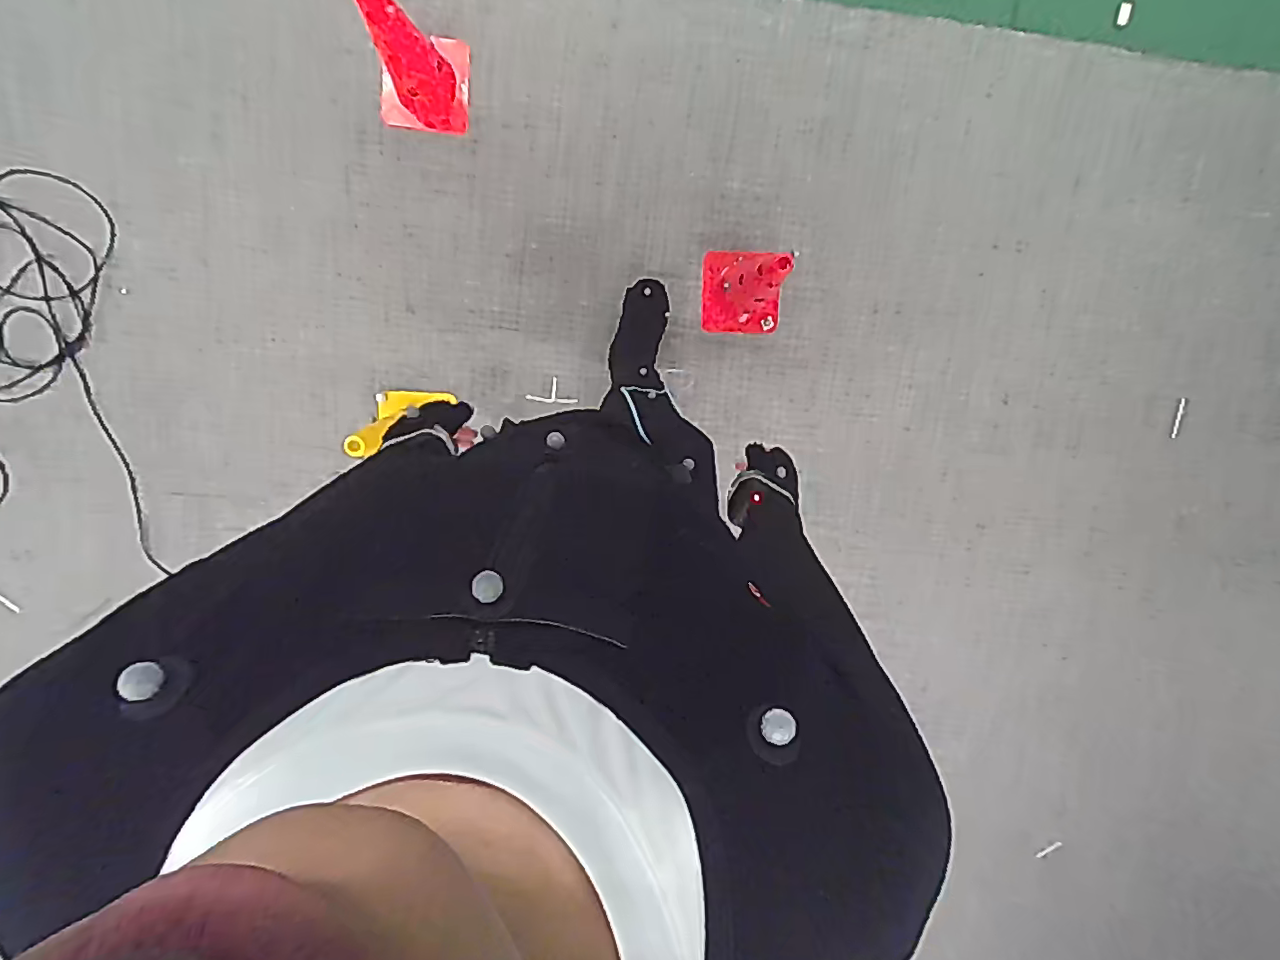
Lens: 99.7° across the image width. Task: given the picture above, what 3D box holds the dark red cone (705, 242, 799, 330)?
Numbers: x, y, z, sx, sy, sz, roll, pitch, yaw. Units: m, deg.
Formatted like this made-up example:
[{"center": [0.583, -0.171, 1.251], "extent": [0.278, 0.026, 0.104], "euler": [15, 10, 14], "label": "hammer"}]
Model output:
[{"center": [0.272, -0.454, 1.195], "extent": [0.202, 0.394, 0.201], "euler": [0, 99, -3], "label": "dark red cone"}]

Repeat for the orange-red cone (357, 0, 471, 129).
[{"center": [-0.492, -0.907, 1.099], "extent": [0.198, 0.360, 0.199], "euler": [6, 101, -3], "label": "orange-red cone"}]
